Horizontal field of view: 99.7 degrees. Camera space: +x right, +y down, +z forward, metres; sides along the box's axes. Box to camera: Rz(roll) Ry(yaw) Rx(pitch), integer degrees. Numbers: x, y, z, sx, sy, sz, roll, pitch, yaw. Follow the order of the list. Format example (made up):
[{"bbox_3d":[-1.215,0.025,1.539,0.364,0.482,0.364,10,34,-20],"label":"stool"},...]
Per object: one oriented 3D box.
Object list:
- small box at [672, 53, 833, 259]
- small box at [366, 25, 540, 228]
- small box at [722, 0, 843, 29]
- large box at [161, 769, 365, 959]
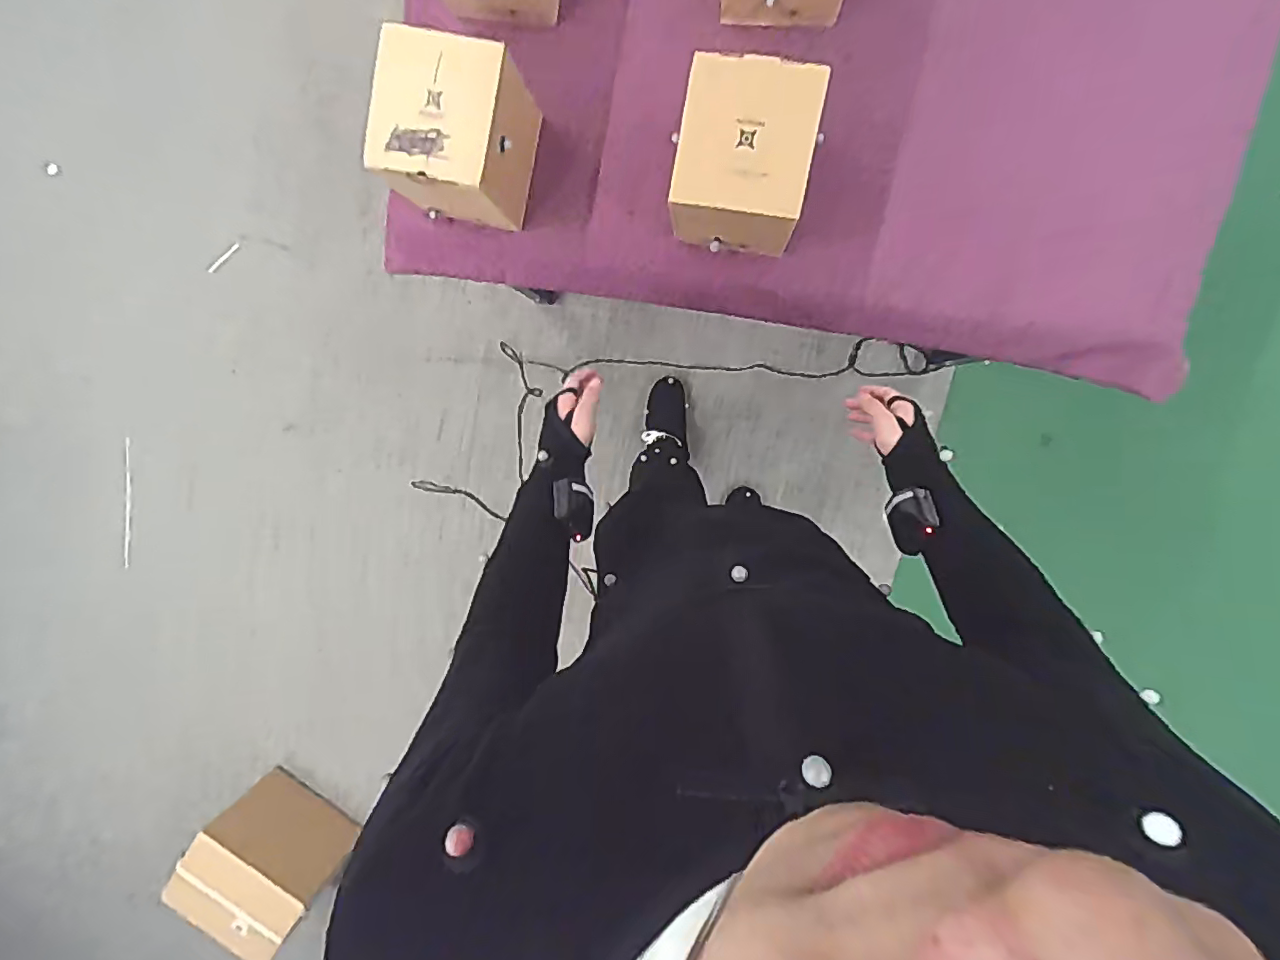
[{"bbox_3d":[0.142,-0.423,0.733,0.168,0.176,0.179,12,99,5],"label":"small box"},{"bbox_3d":[-0.253,-0.481,0.766,0.168,0.176,0.179,13,98,4],"label":"small box"},{"bbox_3d":[0.197,-0.726,0.685,0.168,0.176,0.179,6,100,5],"label":"small box"},{"bbox_3d":[-1.236,1.276,1.807,0.408,0.320,0.320,34,101,0],"label":"large box"}]
